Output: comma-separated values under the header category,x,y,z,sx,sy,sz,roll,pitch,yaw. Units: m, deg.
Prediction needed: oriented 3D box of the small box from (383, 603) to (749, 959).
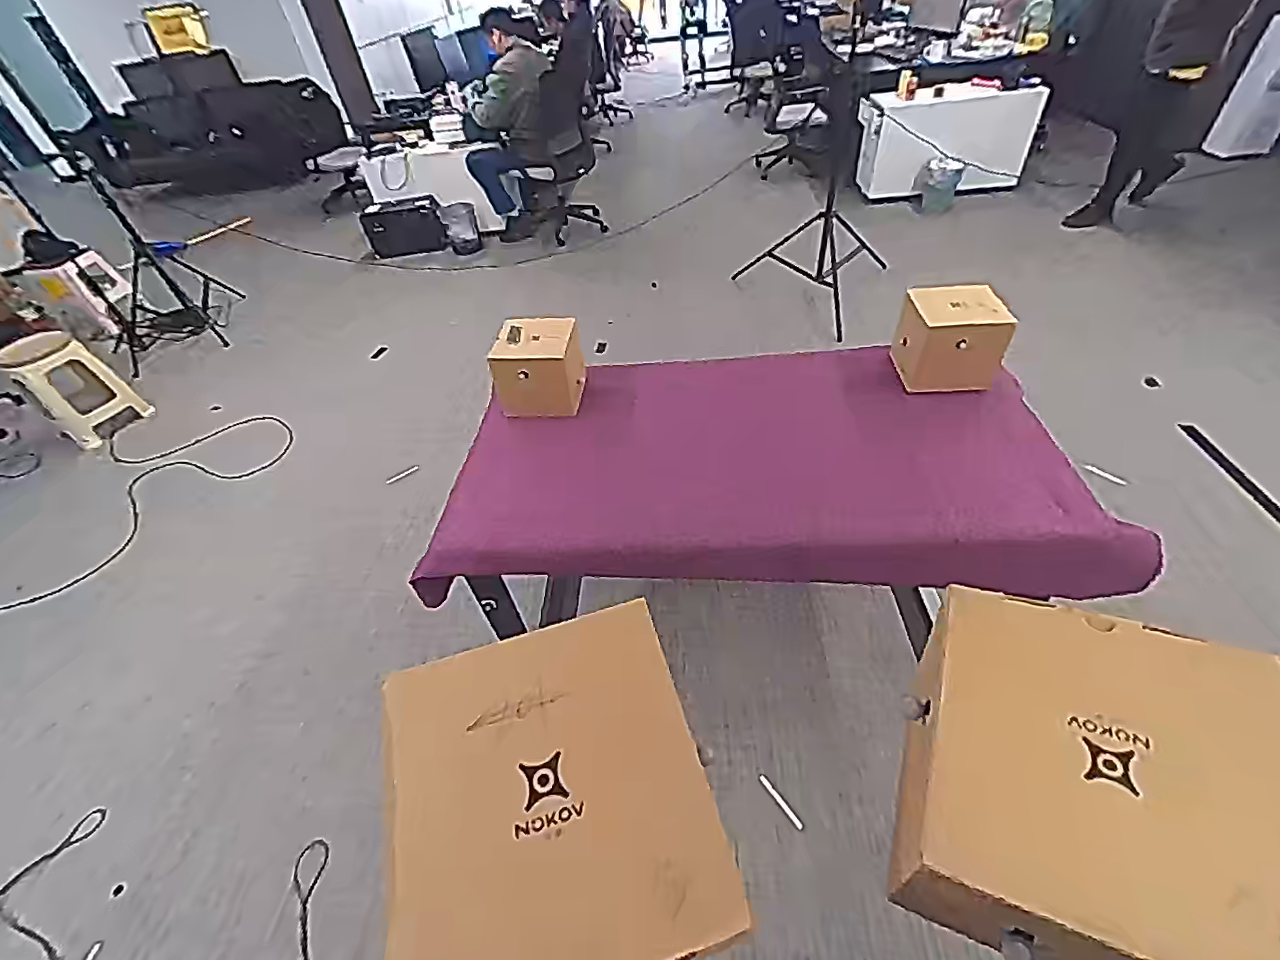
category,x,y,z,sx,sy,sz,roll,pitch,yaw
small box,-0.047,0.213,0.348,0.168,0.176,0.179,-15,52,-10

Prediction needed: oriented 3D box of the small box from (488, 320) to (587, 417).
category,x,y,z,sx,sy,sz,roll,pitch,yaw
small box,-0.235,-0.263,1.289,0.179,0.176,0.168,1,47,7

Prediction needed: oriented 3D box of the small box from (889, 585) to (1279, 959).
category,x,y,z,sx,sy,sz,roll,pitch,yaw
small box,0.265,0.201,0.347,0.168,0.176,0.179,10,51,25

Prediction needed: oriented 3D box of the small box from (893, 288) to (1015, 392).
category,x,y,z,sx,sy,sz,roll,pitch,yaw
small box,0.683,-0.309,1.207,0.179,0.176,0.168,-1,46,6
